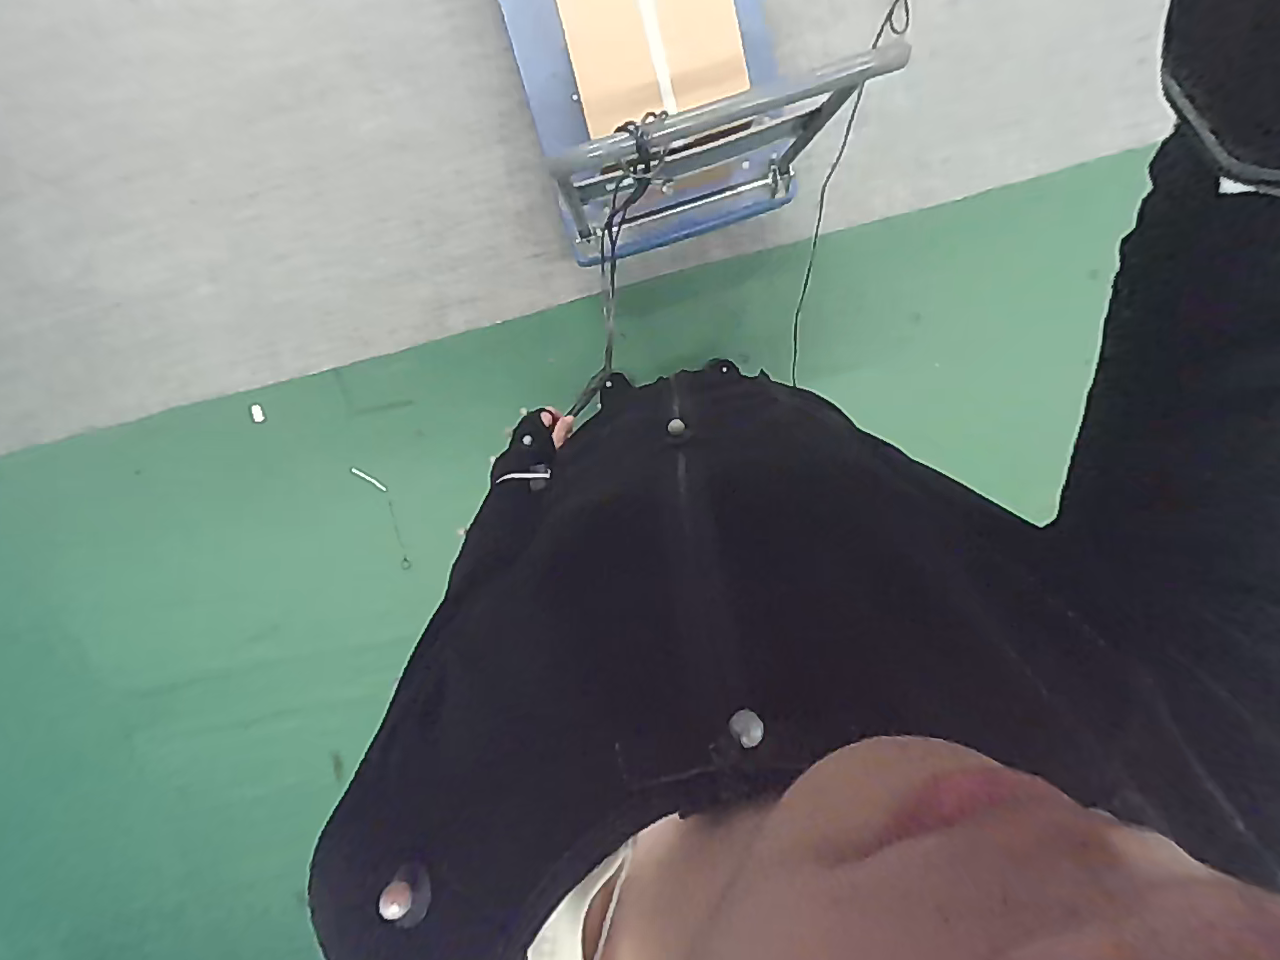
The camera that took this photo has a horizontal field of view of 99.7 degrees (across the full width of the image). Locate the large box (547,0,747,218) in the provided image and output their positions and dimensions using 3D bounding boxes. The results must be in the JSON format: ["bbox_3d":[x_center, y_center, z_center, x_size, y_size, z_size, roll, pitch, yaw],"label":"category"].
[{"bbox_3d":[0.011,-0.848,1.155,0.320,0.320,0.408,-15,100,3],"label":"large box"}]
